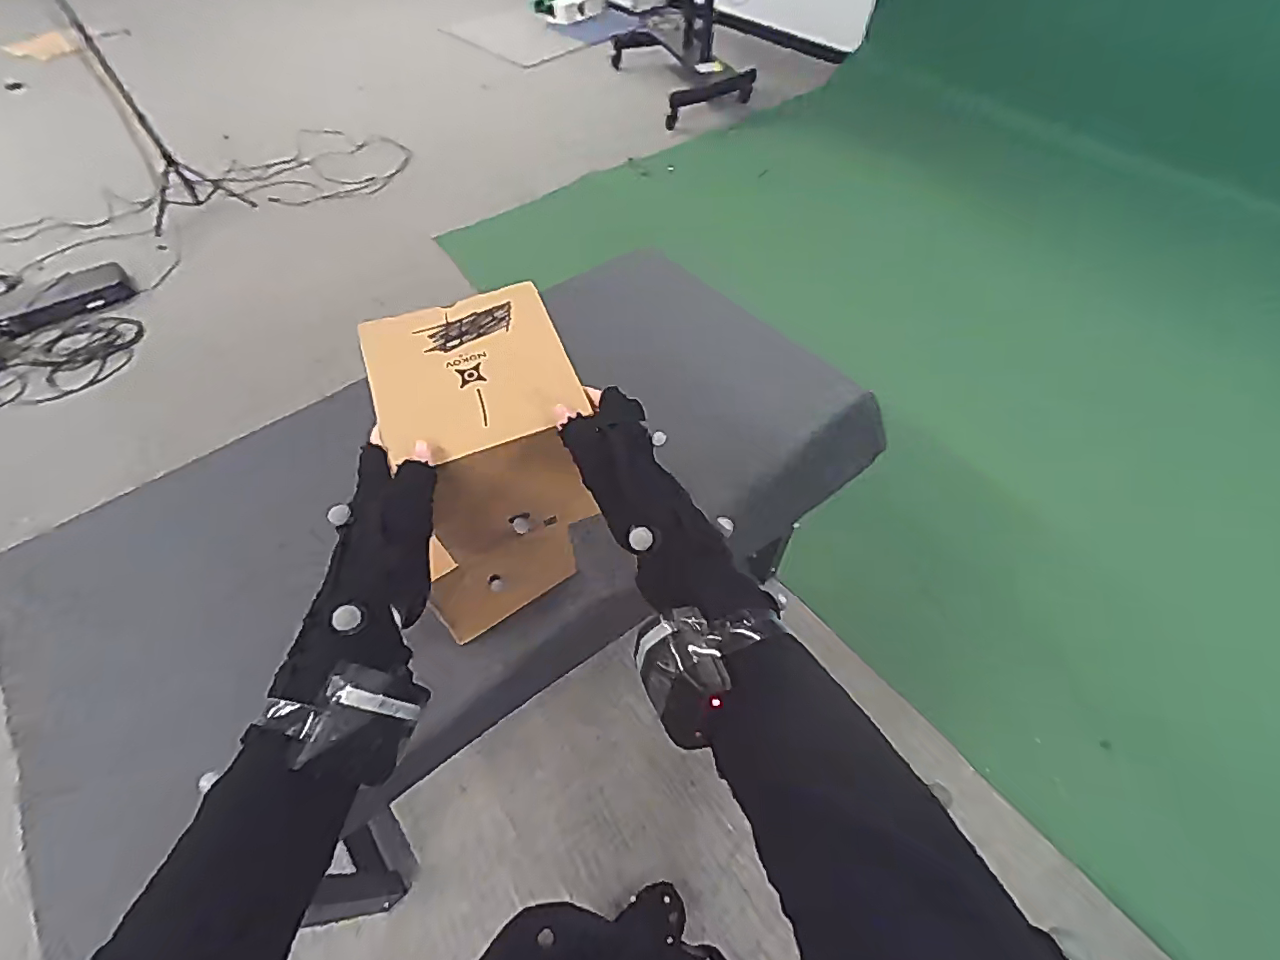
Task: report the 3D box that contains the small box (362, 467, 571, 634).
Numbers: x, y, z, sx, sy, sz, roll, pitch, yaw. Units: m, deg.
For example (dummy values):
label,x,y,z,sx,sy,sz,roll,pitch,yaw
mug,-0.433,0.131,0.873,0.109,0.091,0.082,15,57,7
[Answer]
label,x,y,z,sx,sy,sz,roll,pitch,yaw
small box,-0.208,0.065,0.687,0.179,0.176,0.168,-32,60,-19

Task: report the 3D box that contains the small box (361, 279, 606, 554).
label,x,y,z,sx,sy,sz,roll,pitch,yaw
small box,-0.143,-0.058,0.530,0.168,0.176,0.179,-22,59,-11
